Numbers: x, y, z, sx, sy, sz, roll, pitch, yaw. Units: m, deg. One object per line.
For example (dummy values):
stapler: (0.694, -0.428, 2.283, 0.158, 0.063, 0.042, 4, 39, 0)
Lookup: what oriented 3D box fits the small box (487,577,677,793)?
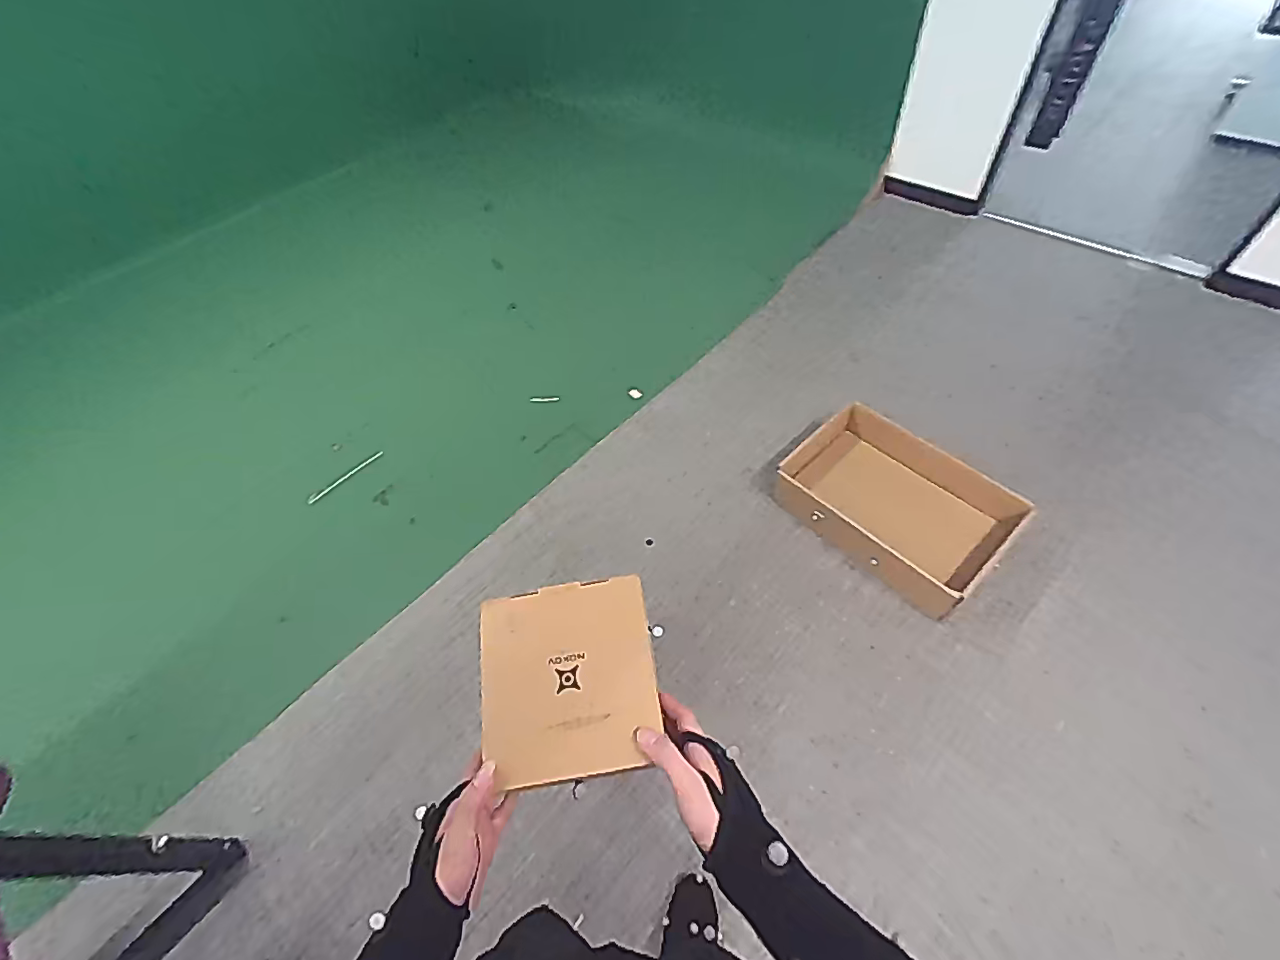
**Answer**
small box: (-0.056, 0.223, 0.573, 0.168, 0.176, 0.179, -9, 60, -1)
